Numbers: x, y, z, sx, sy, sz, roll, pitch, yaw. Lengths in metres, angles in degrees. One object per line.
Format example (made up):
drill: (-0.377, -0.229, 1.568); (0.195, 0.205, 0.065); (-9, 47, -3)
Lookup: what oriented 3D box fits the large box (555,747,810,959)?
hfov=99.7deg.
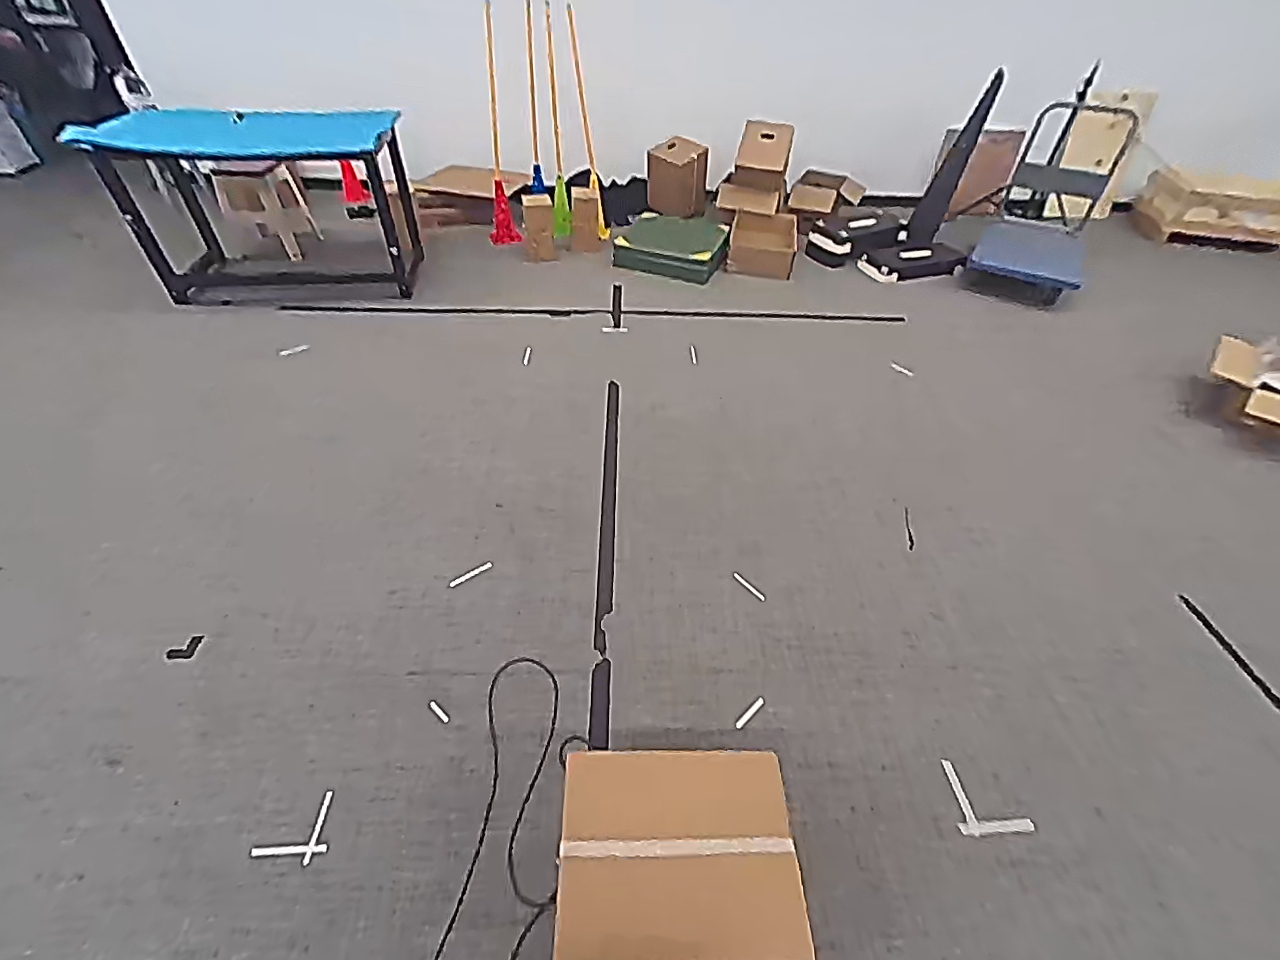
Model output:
large box: (0.057, 0.731, 1.037); (0.408, 0.320, 0.320); (1, 44, -3)
